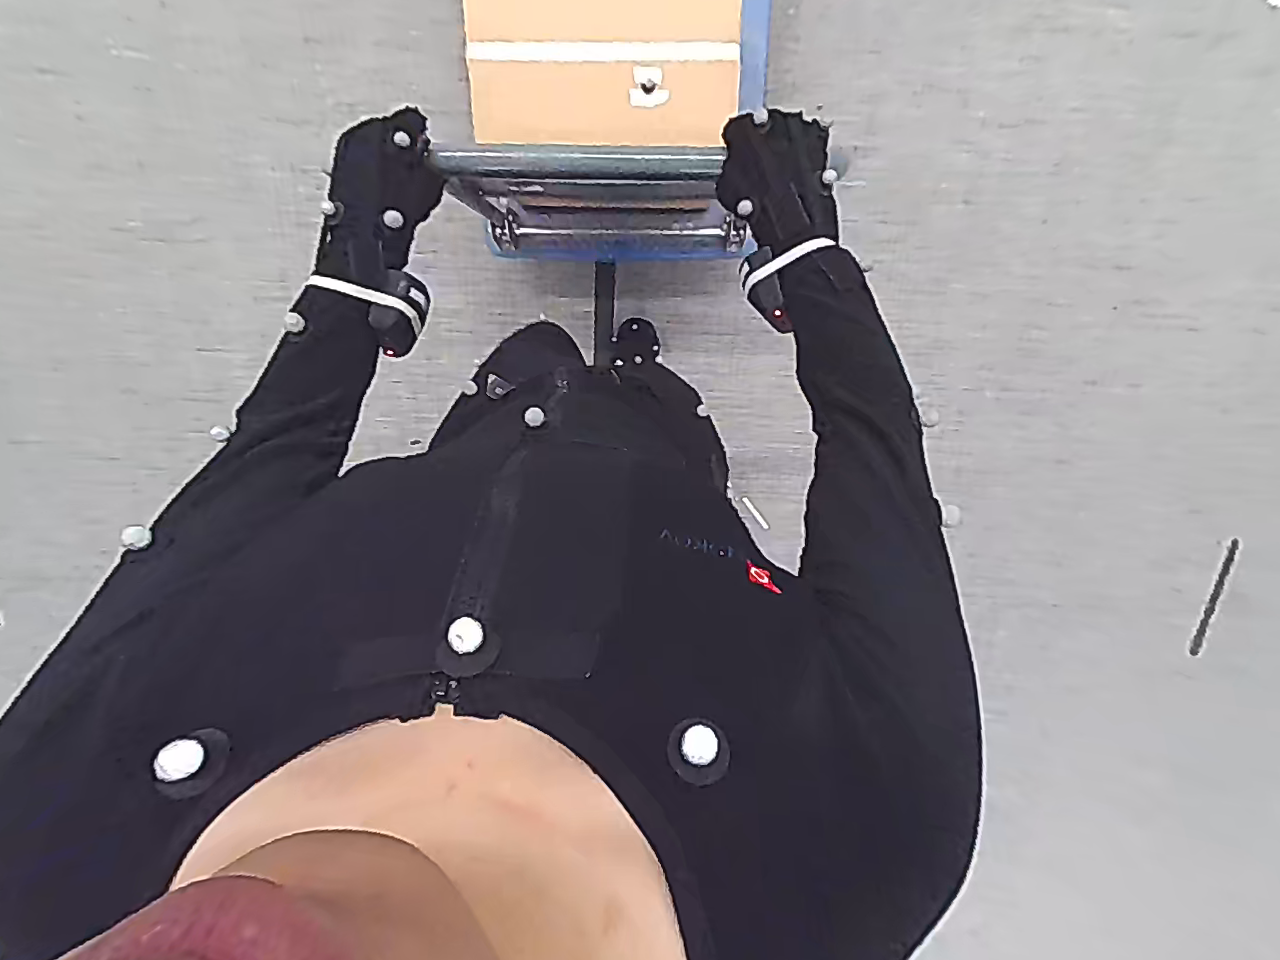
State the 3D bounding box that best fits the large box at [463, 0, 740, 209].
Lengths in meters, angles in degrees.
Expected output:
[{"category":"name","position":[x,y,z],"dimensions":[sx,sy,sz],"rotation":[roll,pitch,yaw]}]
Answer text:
[{"category":"large box","position":[-0.058,-0.671,0.938],"dimensions":[0.408,0.320,0.320],"rotation":[0,108,-1]}]
